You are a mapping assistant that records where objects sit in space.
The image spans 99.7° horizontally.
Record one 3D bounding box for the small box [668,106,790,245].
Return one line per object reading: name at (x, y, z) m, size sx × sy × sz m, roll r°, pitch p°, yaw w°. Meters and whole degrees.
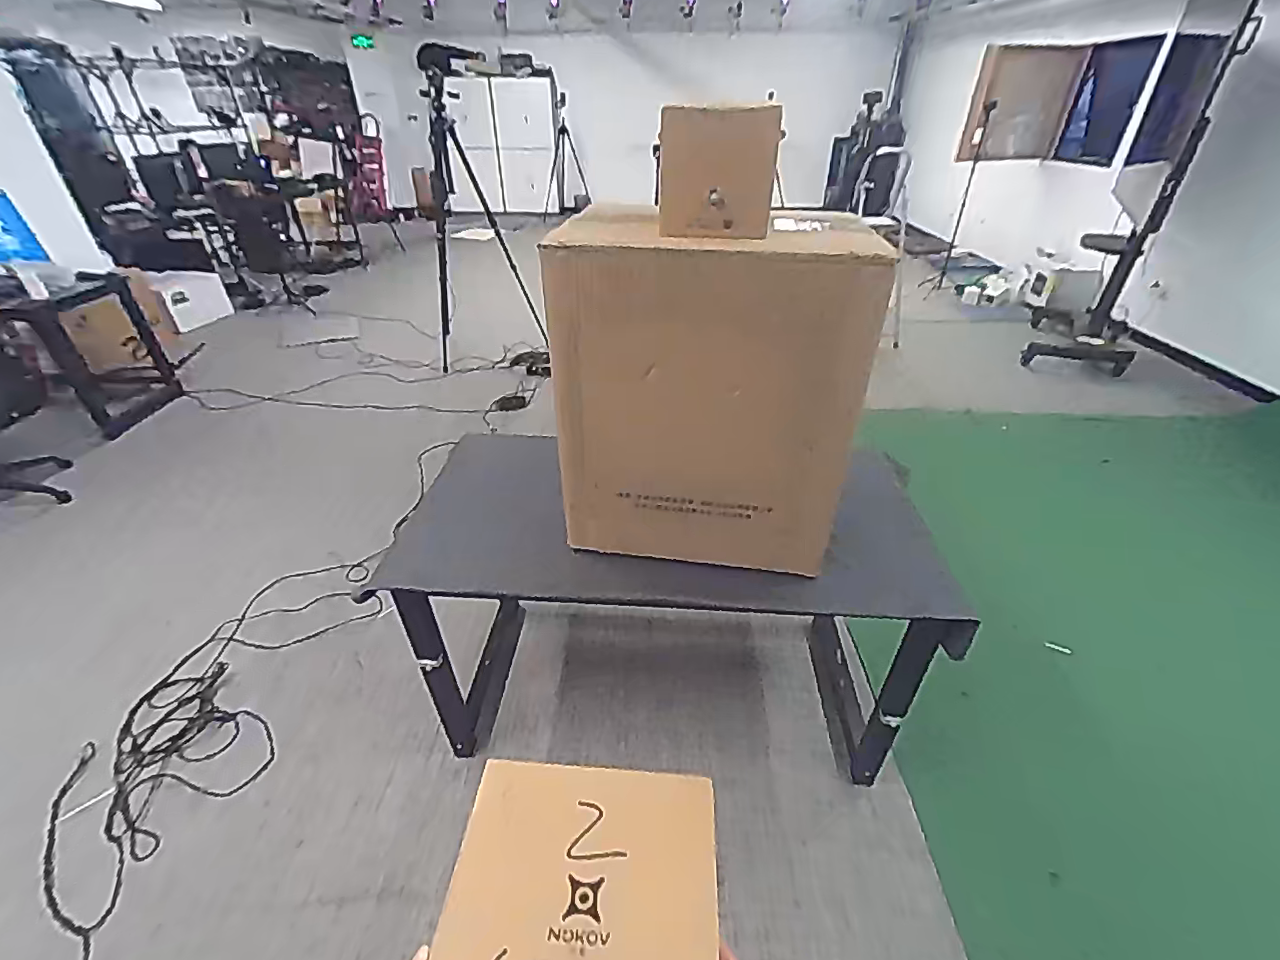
small box at (0.135, -0.485, 0.856) m, size 0.168 × 0.176 × 0.179 m, roll 5°, pitch 37°, yaw 6°
